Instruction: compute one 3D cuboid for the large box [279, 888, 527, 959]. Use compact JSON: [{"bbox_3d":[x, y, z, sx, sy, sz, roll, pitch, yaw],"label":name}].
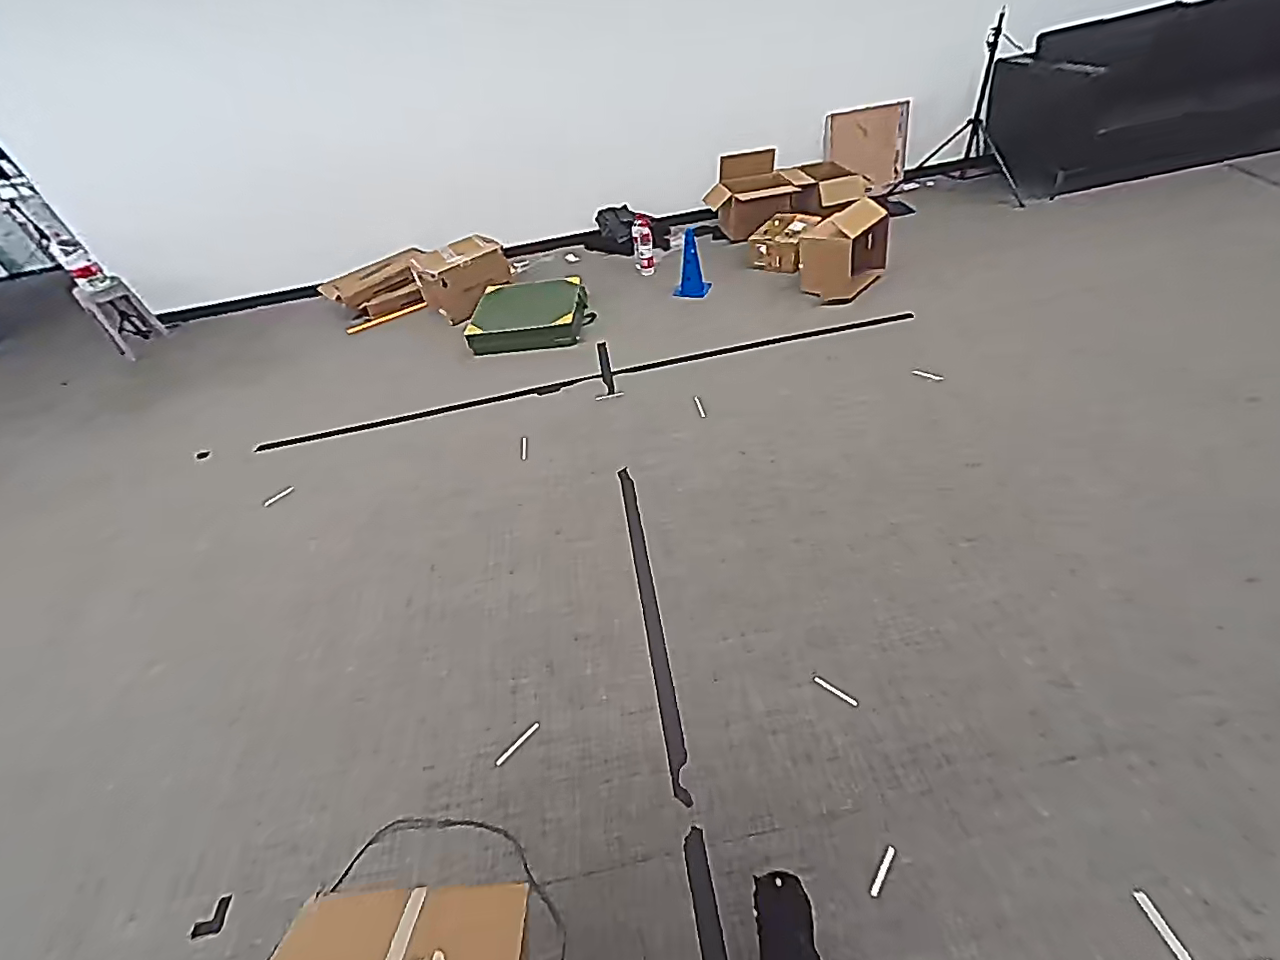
[{"bbox_3d":[-0.306,0.772,0.609,0.320,0.320,0.408,2,4,-4],"label":"large box"}]
